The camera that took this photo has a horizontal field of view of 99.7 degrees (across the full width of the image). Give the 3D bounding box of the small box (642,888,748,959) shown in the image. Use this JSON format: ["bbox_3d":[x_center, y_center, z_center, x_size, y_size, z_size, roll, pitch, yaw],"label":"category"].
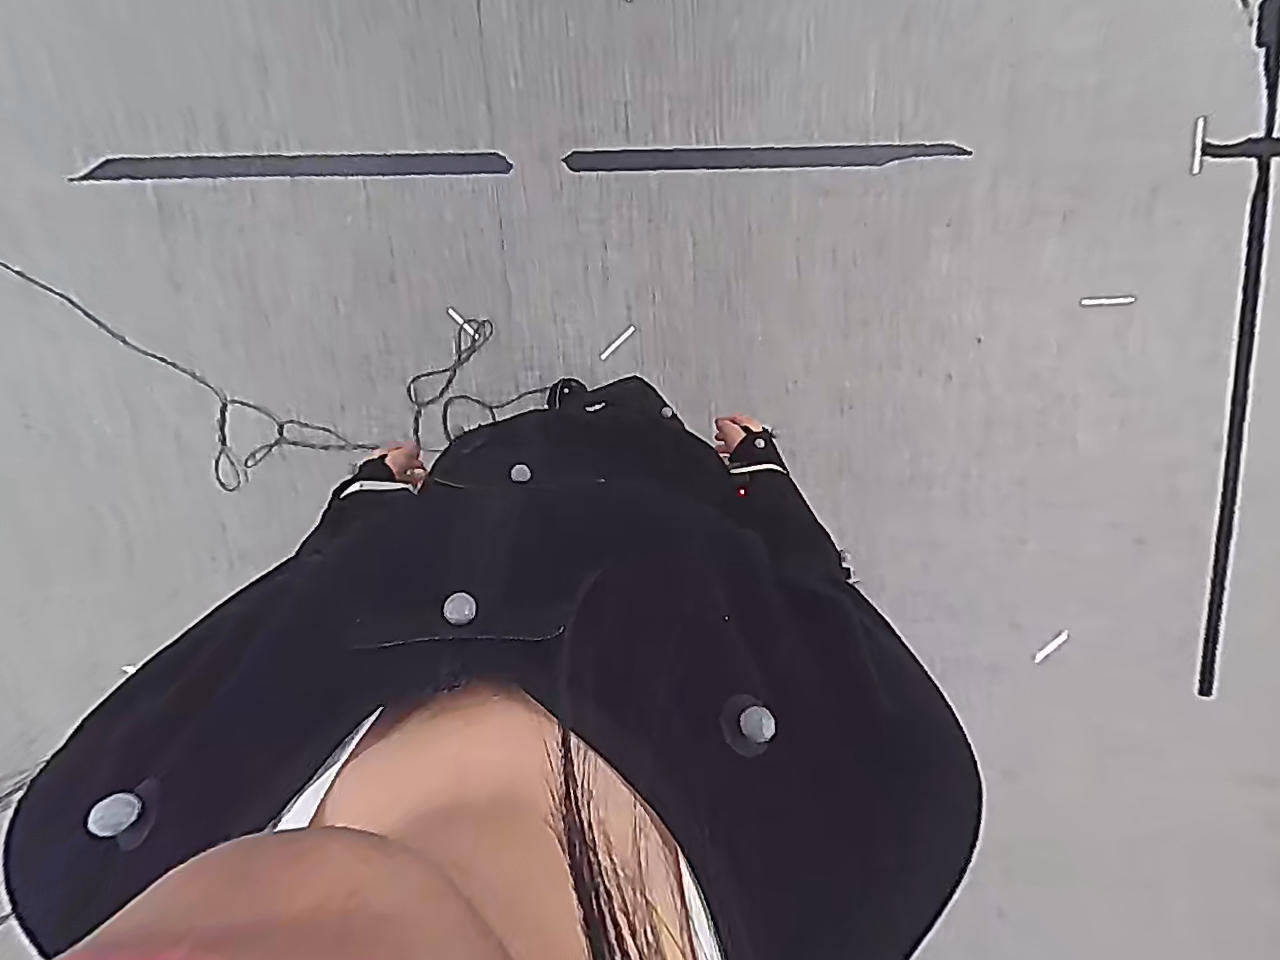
[{"bbox_3d":[0.091,0.851,0.943,0.168,0.176,0.179,-2,97,-2],"label":"small box"}]
